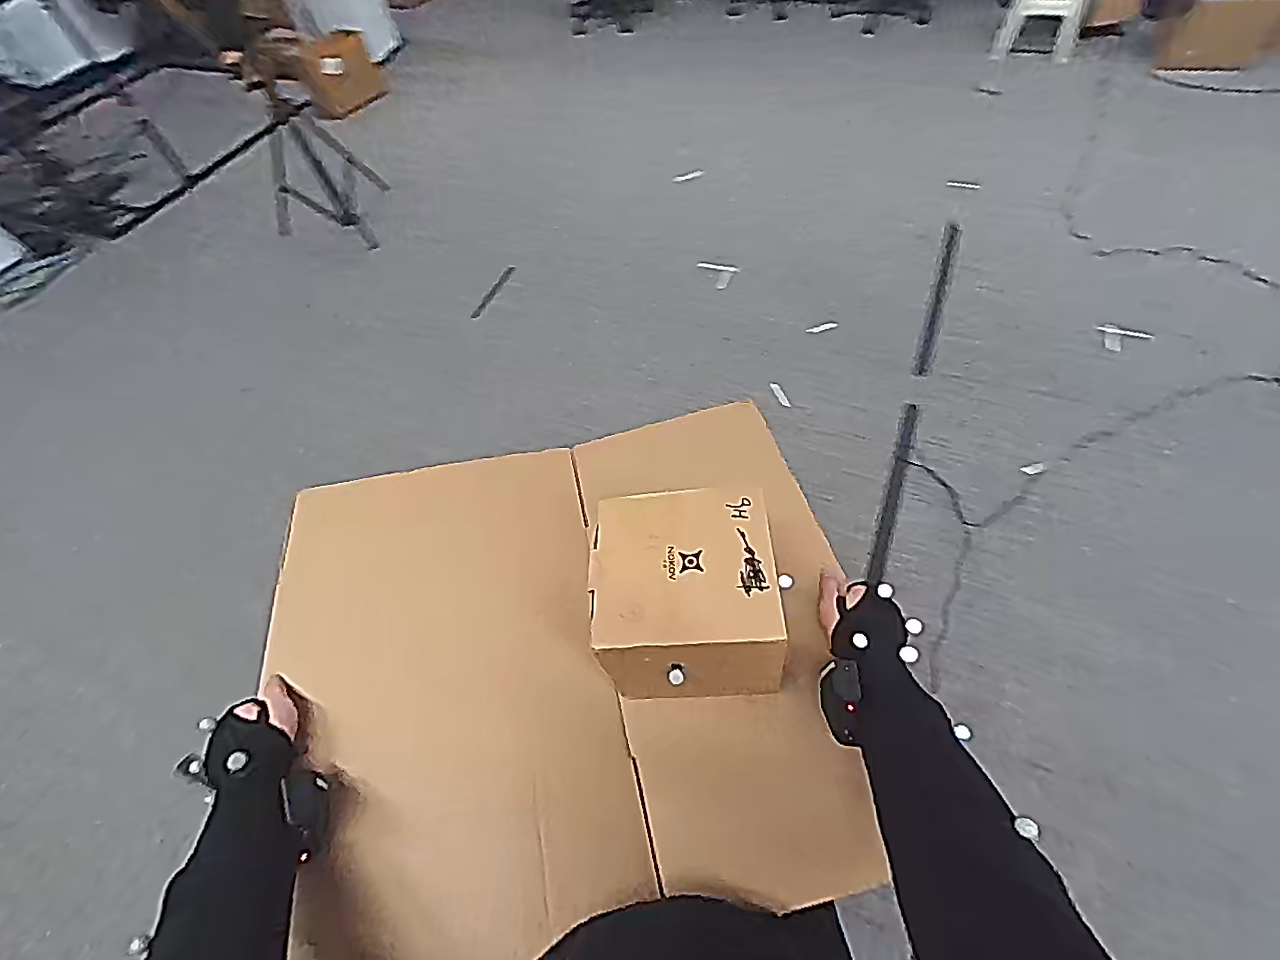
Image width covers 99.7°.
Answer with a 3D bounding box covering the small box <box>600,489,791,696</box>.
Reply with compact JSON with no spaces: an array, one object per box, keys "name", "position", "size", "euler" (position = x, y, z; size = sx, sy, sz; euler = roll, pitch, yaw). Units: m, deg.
[{"name":"small box","position":[0.065,0.130,0.592],"size":[0.179,0.176,0.168],"euler":[-5,53,9]}]
